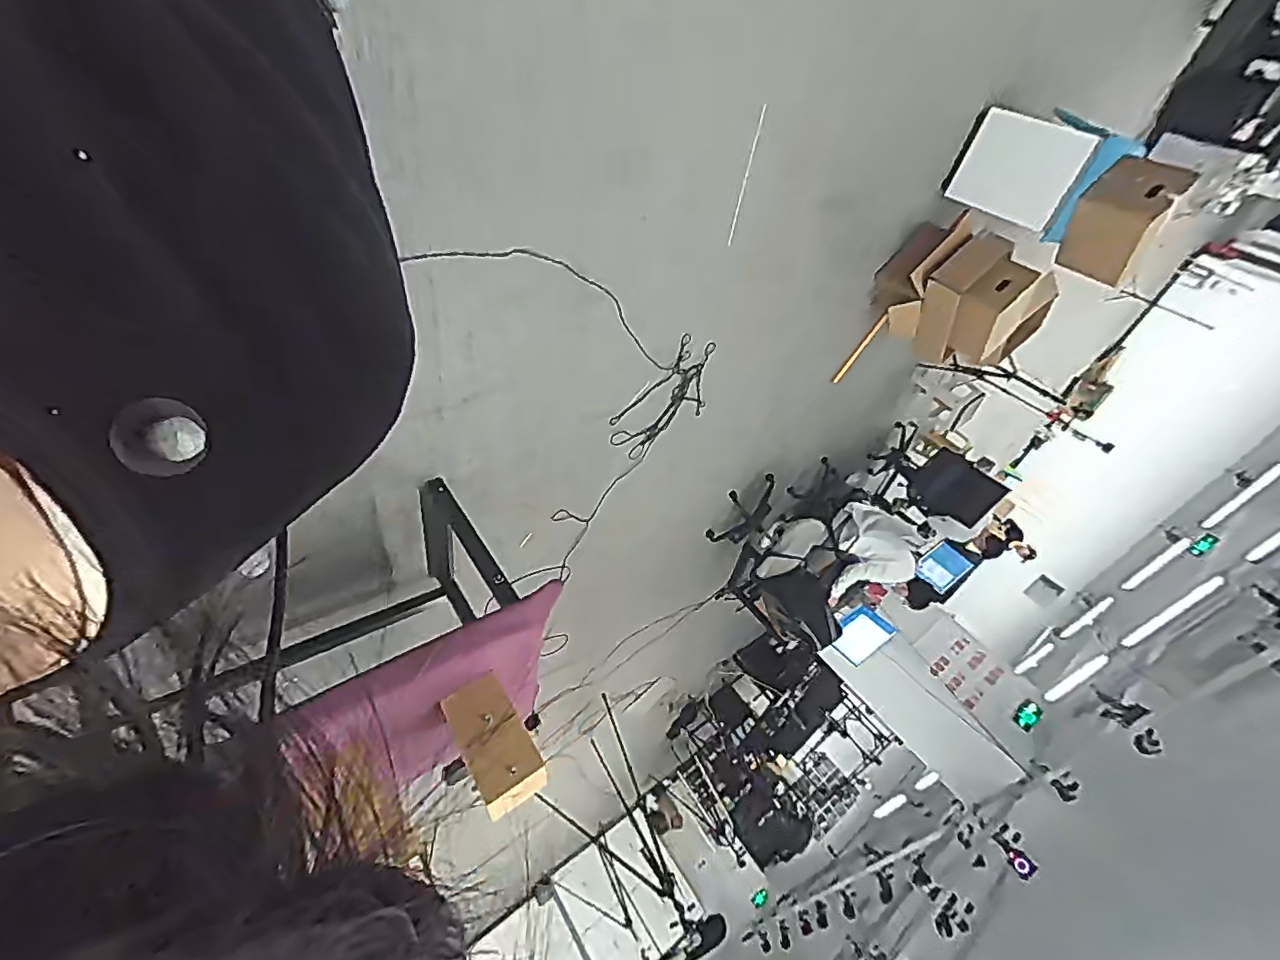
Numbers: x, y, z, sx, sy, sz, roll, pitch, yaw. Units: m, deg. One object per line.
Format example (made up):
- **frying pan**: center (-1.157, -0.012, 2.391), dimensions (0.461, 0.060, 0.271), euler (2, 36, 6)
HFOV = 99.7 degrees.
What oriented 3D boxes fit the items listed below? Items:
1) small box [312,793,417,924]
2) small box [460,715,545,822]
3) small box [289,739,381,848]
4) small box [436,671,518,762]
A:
- **small box**: center (-0.664, 0.897, 1.298), dimensions (0.179, 0.176, 0.168), euler (-9, 135, -42)
- **small box**: center (-0.385, 0.799, 1.507), dimensions (0.179, 0.176, 0.168), euler (-25, 143, -29)
- **small box**: center (-0.770, 0.801, 1.379), dimensions (0.168, 0.176, 0.179), euler (-19, 141, -35)
- **small box**: center (-0.478, 0.701, 1.596), dimensions (0.179, 0.176, 0.168), euler (-23, 142, -30)
